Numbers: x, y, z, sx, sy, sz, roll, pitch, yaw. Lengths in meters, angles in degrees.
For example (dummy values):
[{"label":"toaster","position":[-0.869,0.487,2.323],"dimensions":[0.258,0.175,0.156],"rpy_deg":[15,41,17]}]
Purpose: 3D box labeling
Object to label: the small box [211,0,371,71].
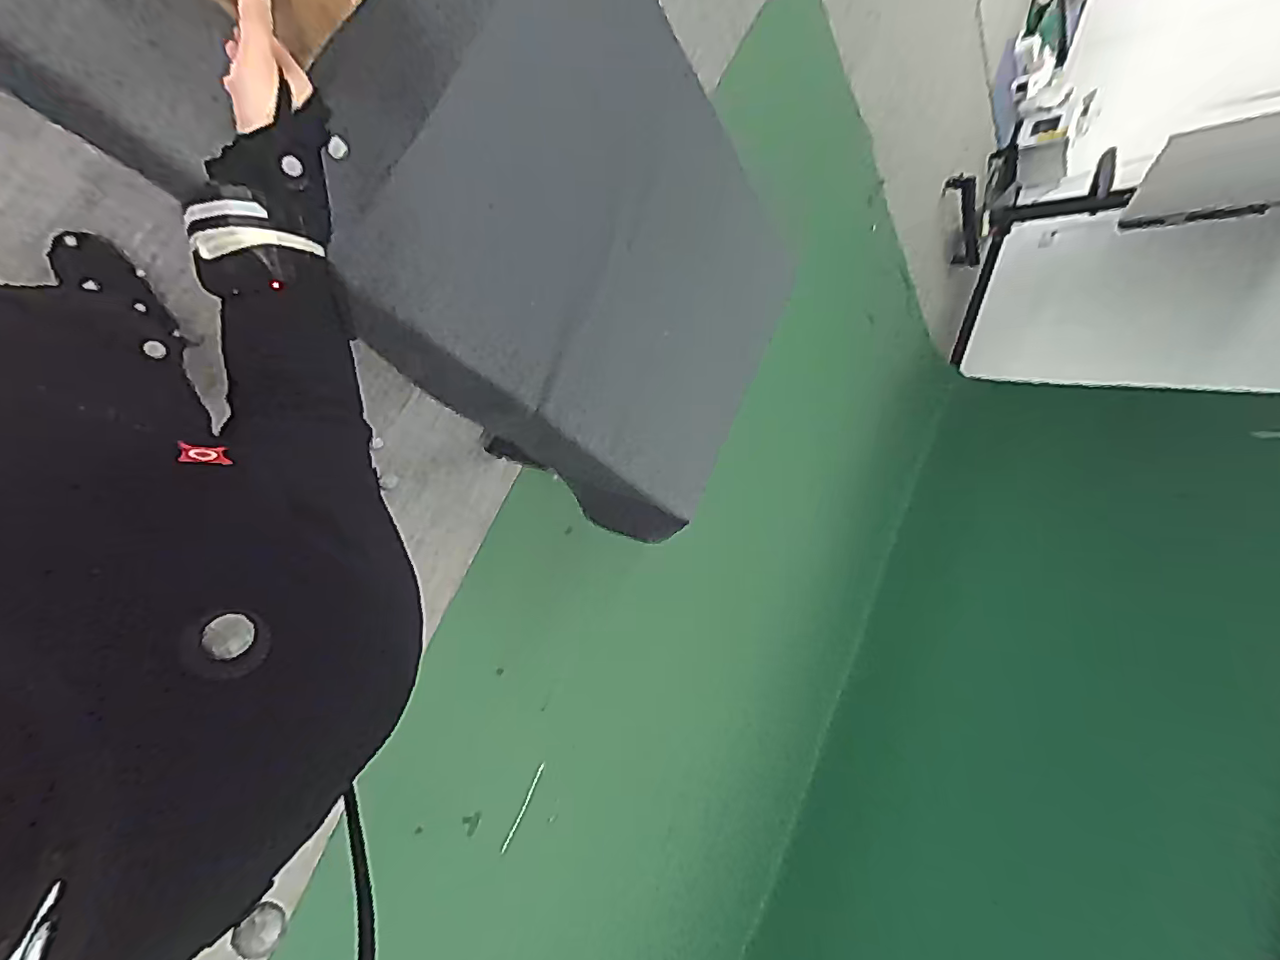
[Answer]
[{"label":"small box","position":[-0.286,-0.484,0.430],"dimensions":[0.168,0.176,0.179],"rpy_deg":[35,75,-46]}]
